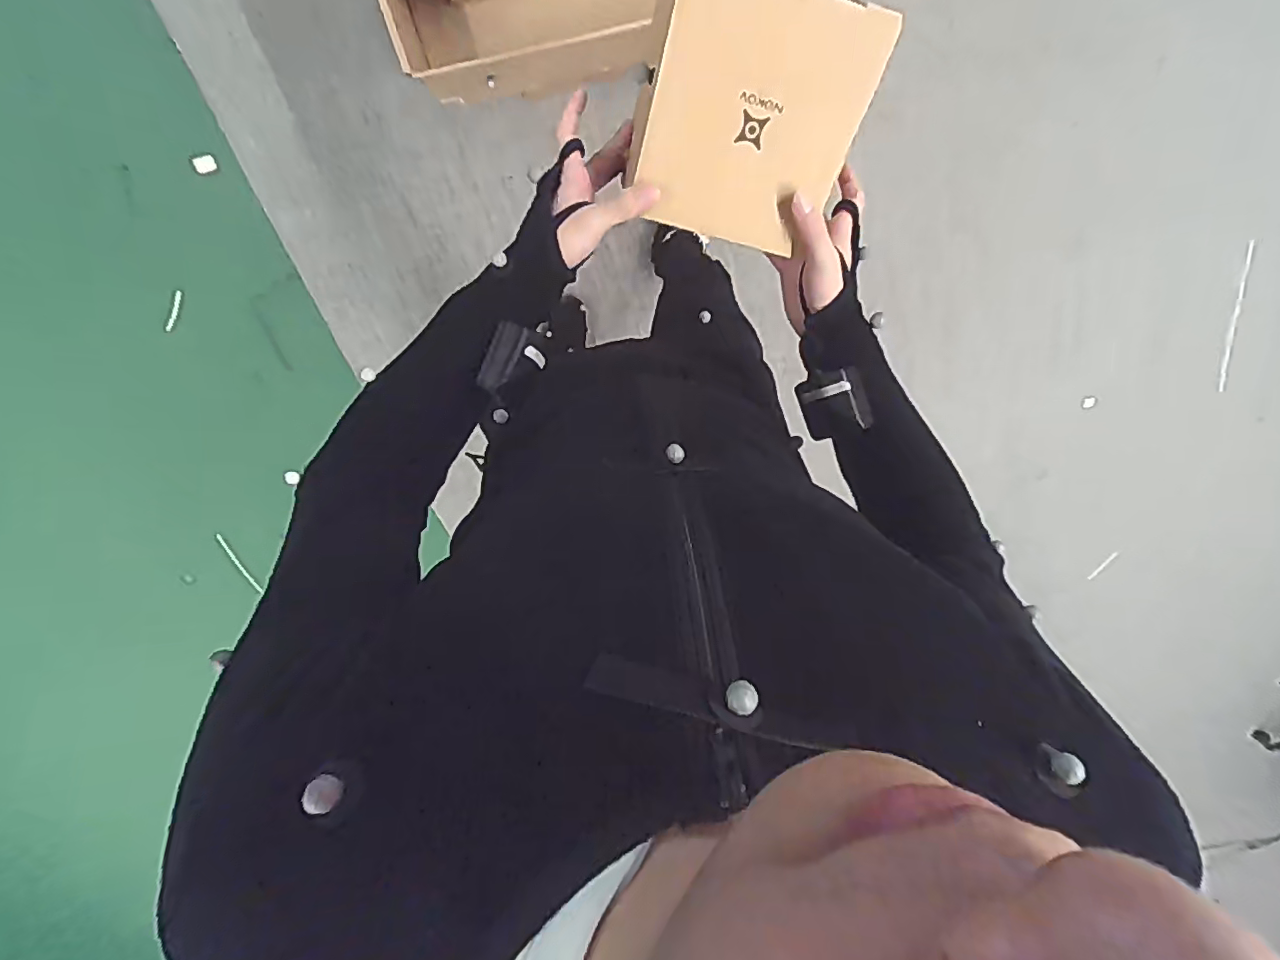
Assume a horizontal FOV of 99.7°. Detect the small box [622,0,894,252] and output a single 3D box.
[{"bbox_3d":[0.082,-0.333,0.485,0.168,0.176,0.179,9,126,-11],"label":"small box"}]
